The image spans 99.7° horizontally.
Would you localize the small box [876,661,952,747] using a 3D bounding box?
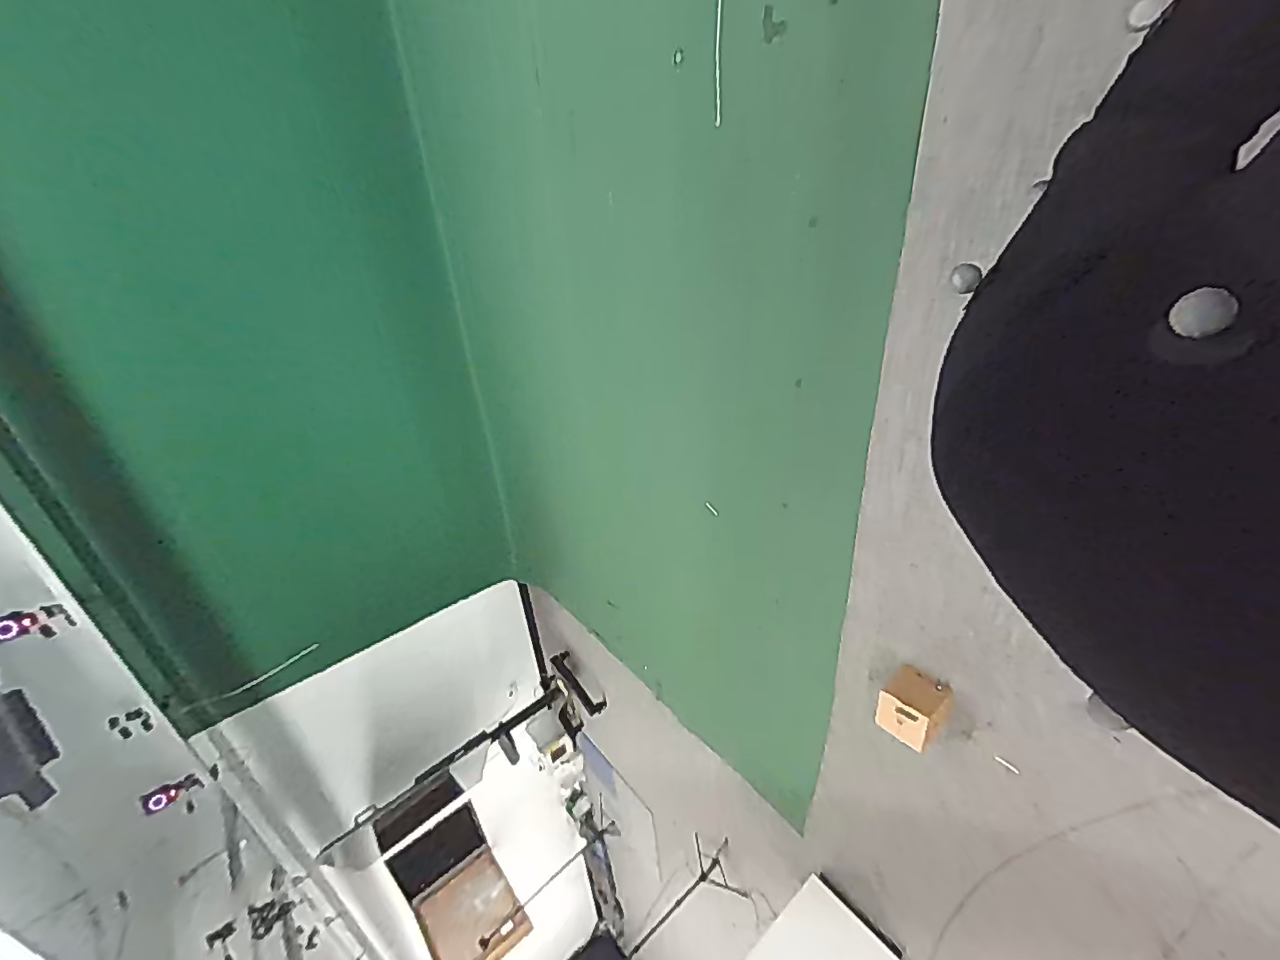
[{"bbox_3d":[0.940,0.760,1.854,0.168,0.176,0.179,27,132,45],"label":"small box"}]
